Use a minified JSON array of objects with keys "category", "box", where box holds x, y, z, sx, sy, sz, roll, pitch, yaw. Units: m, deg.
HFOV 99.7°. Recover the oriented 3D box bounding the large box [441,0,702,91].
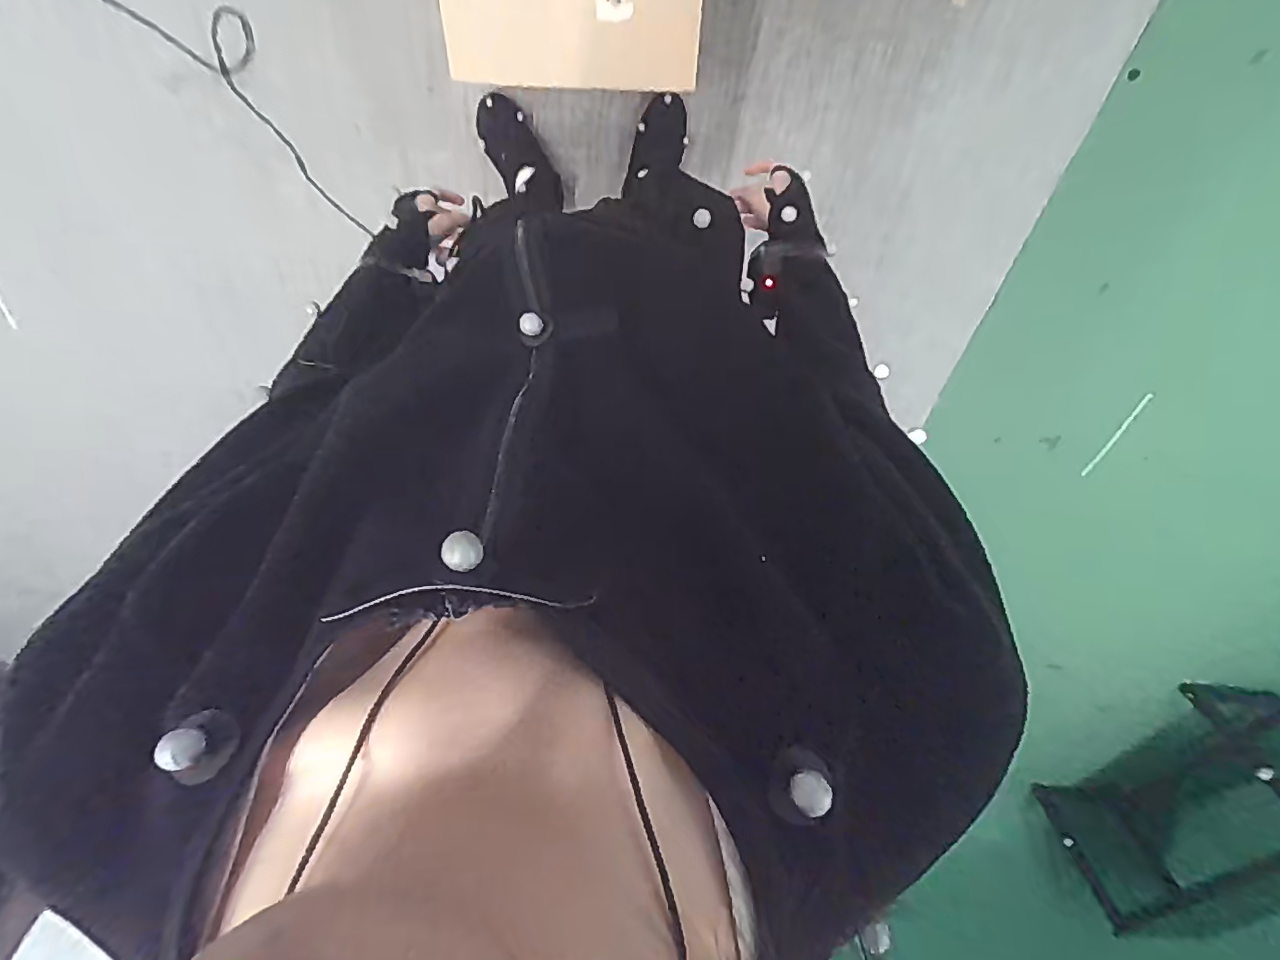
[{"category":"large box","box":[-0.111,-0.852,0.914,0.408,0.320,0.320,-1,127,-4]}]
